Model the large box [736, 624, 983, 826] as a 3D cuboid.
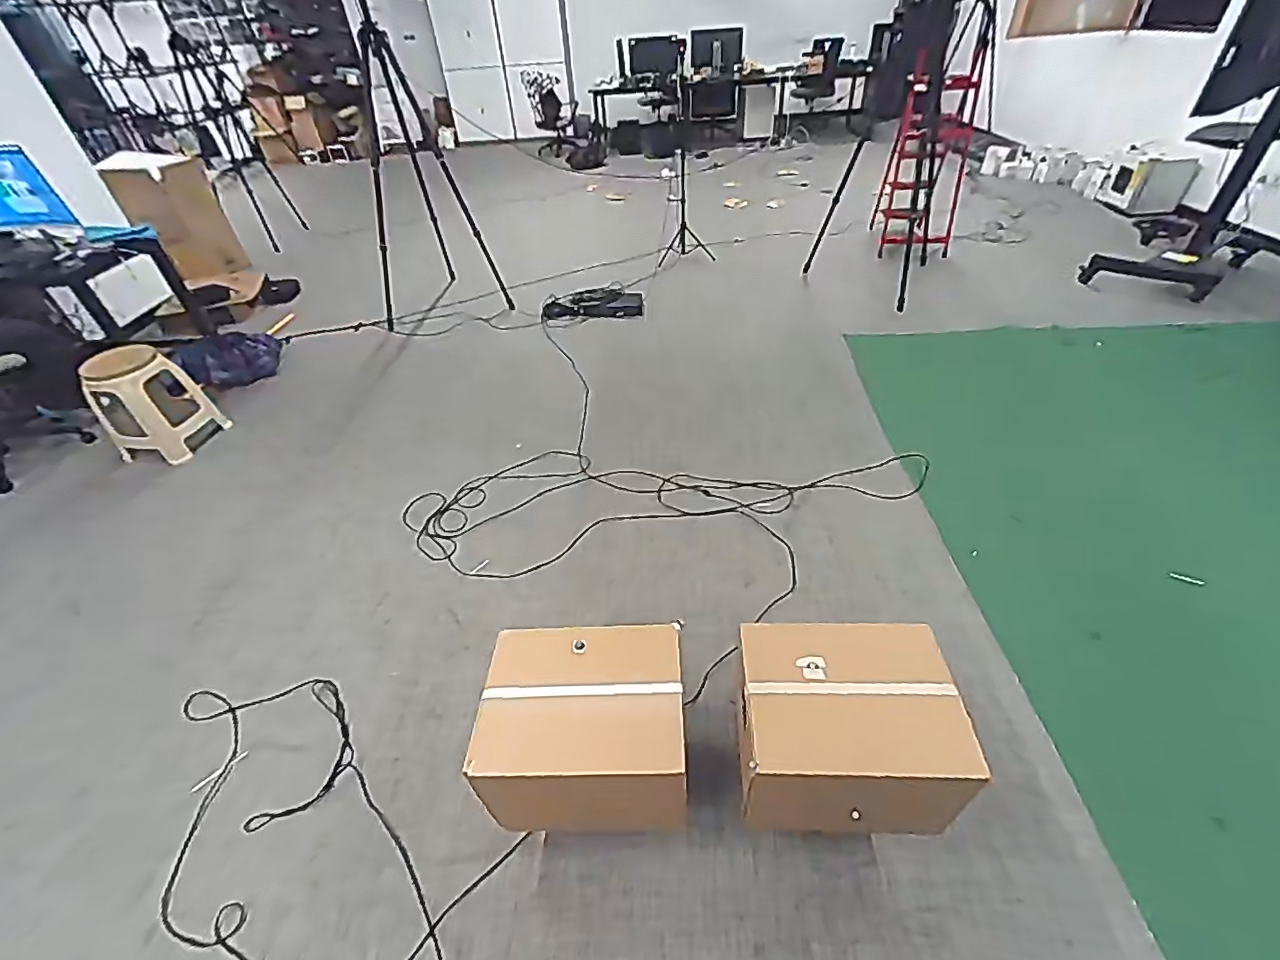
[{"bbox_3d":[0.427,0.531,1.172,0.408,0.320,0.320,-1,41,5],"label":"large box"}]
